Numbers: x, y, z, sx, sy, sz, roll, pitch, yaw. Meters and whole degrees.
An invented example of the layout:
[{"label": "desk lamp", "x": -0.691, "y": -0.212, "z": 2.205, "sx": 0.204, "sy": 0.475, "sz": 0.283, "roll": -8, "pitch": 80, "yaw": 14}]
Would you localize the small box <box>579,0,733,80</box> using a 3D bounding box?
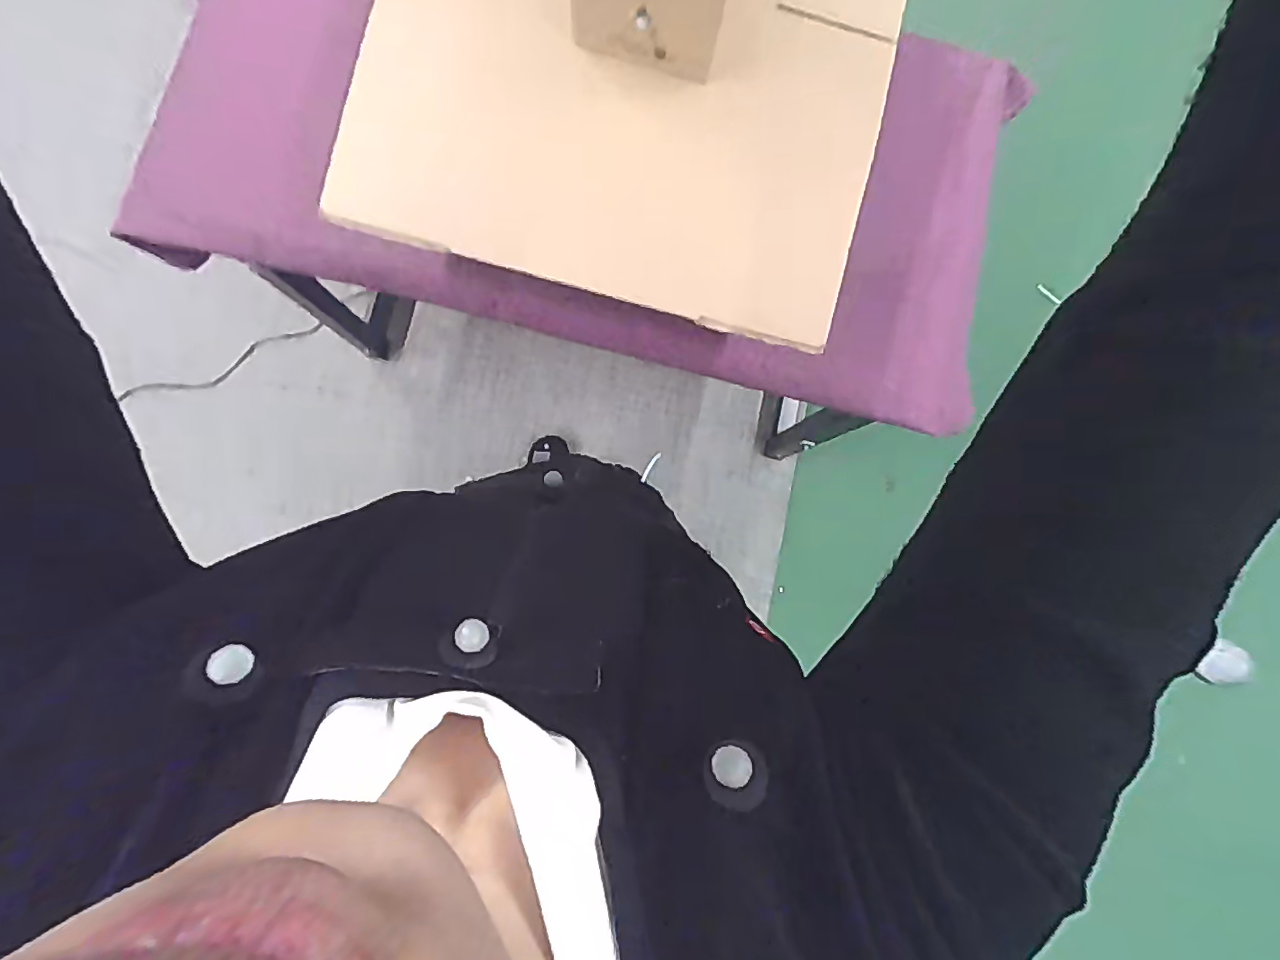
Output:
[{"label": "small box", "x": 0.030, "y": -0.580, "z": 0.564, "sx": 0.168, "sy": 0.176, "sz": 0.179, "roll": 15, "pitch": 82, "yaw": -3}]
